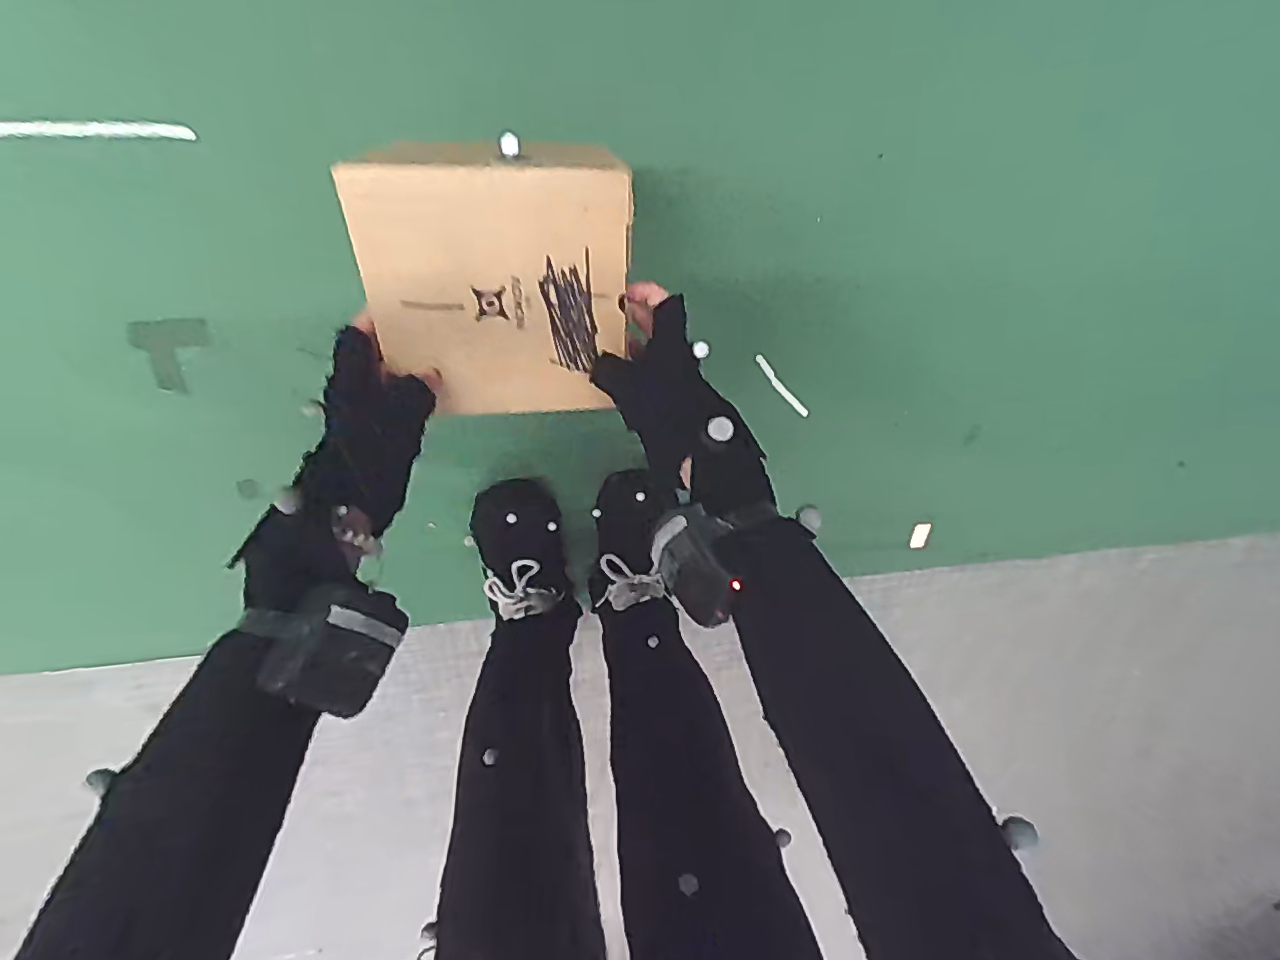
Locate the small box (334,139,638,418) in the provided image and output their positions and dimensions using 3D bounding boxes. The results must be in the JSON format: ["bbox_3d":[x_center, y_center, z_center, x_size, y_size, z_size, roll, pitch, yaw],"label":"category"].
[{"bbox_3d":[-0.102,-0.162,0.423,0.179,0.176,0.168,-3,126,-8],"label":"small box"}]
